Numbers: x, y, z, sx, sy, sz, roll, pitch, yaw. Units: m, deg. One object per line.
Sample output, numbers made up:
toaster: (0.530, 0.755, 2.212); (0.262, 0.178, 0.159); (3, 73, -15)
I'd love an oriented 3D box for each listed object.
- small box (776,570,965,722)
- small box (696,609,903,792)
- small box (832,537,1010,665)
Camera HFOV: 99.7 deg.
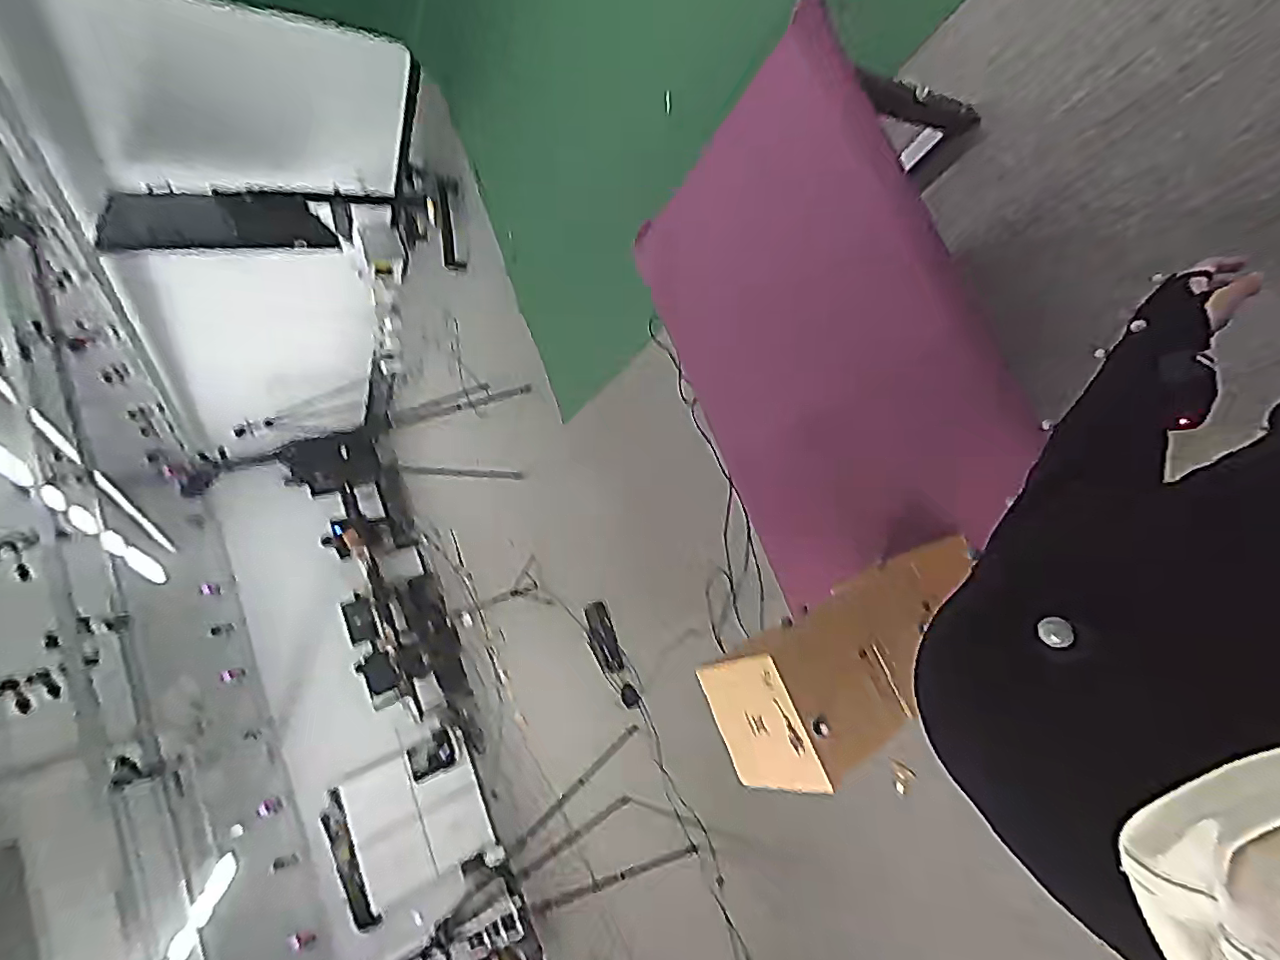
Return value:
small box: (0.347, 0.258, 0.829); (0.179, 0.176, 0.168); (-45, 66, 52)
small box: (0.213, 0.294, 0.740); (0.179, 0.176, 0.168); (-42, 68, 54)
small box: (0.476, 0.216, 0.922); (0.179, 0.176, 0.168); (-44, 67, 52)
